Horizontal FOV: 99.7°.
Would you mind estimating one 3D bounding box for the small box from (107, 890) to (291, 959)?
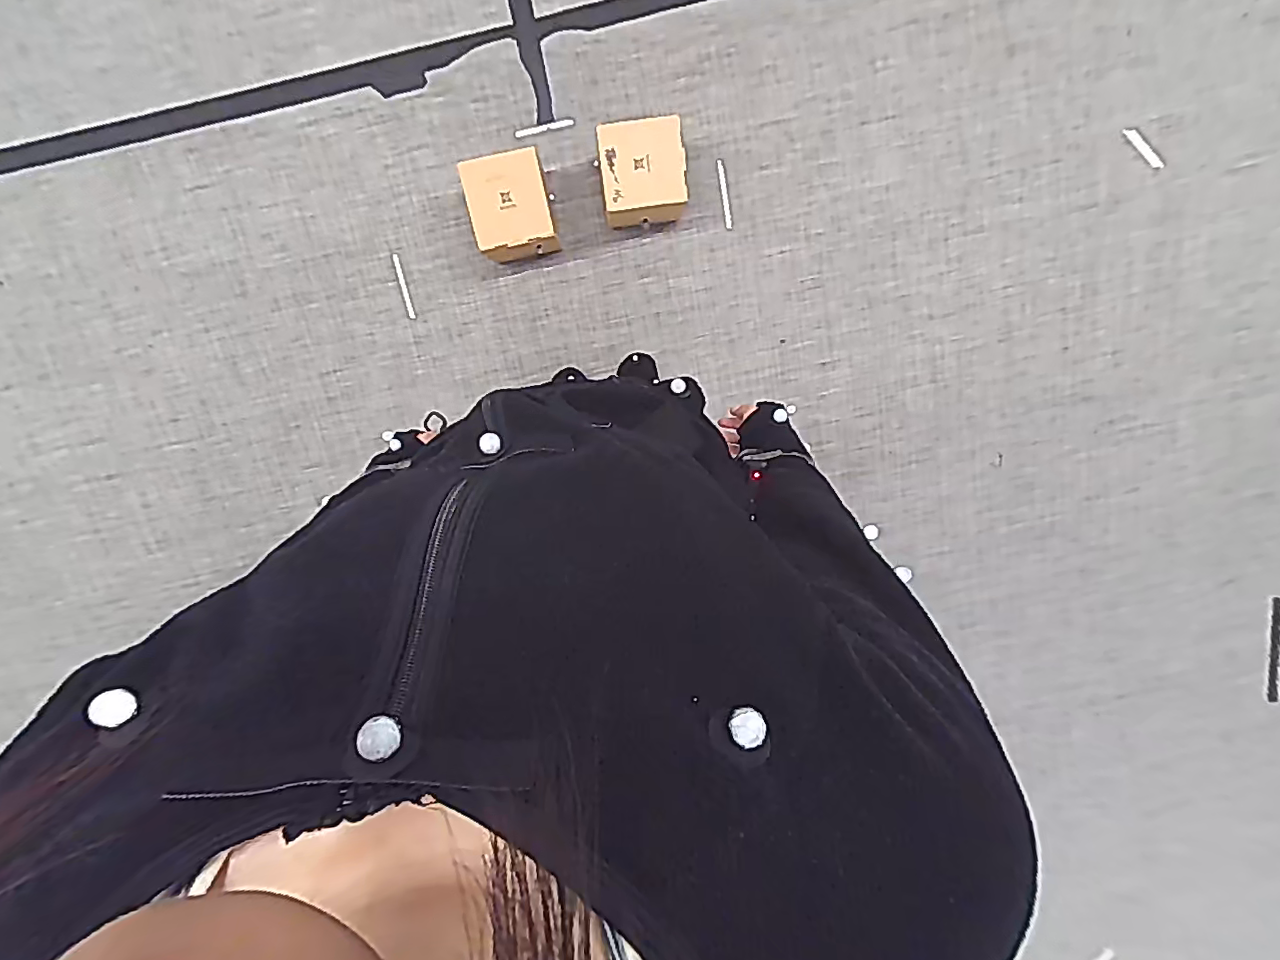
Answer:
[{"bbox_3d":[-0.633,0.715,0.743,0.179,0.176,0.168,-12,105,0],"label":"small box"}]

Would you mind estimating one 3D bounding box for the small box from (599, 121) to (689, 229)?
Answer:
[{"bbox_3d":[0.004,-0.665,1.195,0.179,0.176,0.168,-8,104,-2],"label":"small box"}]

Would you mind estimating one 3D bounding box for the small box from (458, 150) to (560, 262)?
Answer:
[{"bbox_3d":[-0.279,-0.594,1.198,0.168,0.176,0.179,-13,103,-1],"label":"small box"}]
